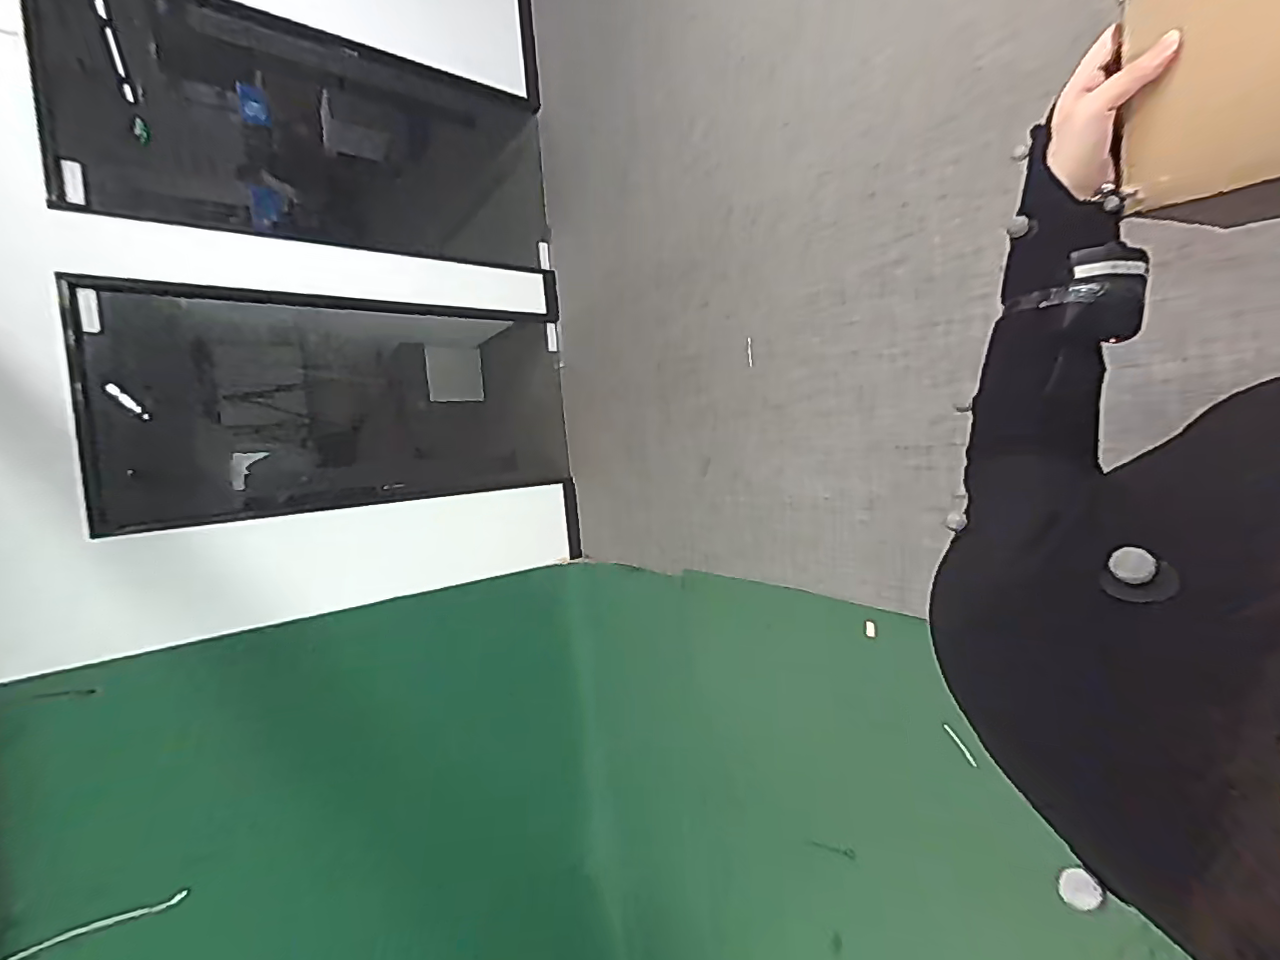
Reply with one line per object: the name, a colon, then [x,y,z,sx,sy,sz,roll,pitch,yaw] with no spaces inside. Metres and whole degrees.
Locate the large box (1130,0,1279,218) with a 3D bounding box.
large box: [0.590,-0.378,0.305,0.408,0.320,0.320,7,107,58]
